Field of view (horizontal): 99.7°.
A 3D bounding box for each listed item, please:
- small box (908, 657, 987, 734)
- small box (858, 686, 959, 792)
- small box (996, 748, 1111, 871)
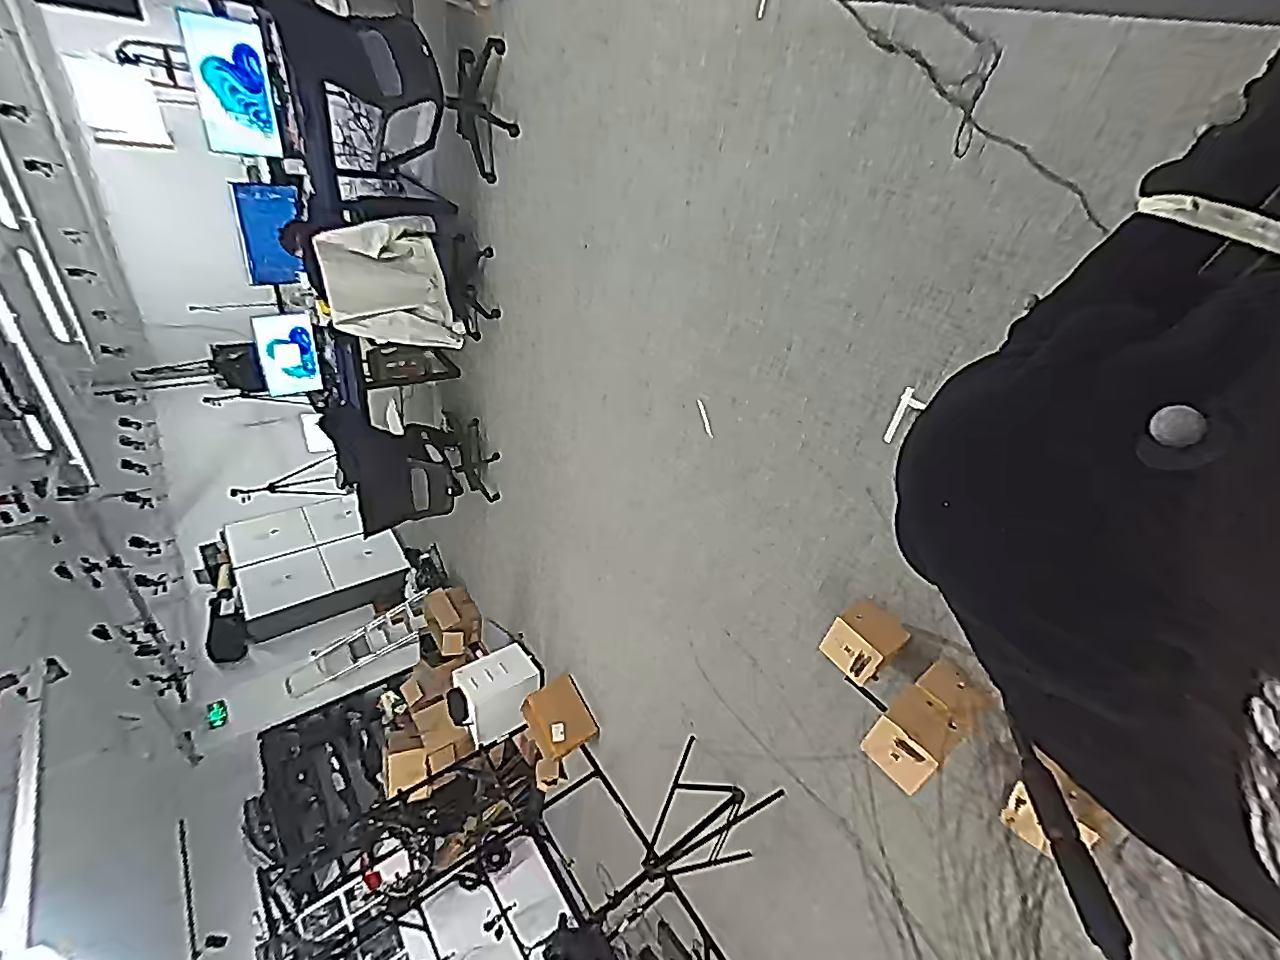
[{"bbox_3d":[0.875,0.659,1.589,0.168,0.176,0.179,44,136,33],"label":"small box"},{"bbox_3d":[0.748,0.710,1.498,0.168,0.176,0.179,42,136,36],"label":"small box"},{"bbox_3d":[1.075,0.844,1.404,0.179,0.176,0.168,29,127,43],"label":"small box"}]
